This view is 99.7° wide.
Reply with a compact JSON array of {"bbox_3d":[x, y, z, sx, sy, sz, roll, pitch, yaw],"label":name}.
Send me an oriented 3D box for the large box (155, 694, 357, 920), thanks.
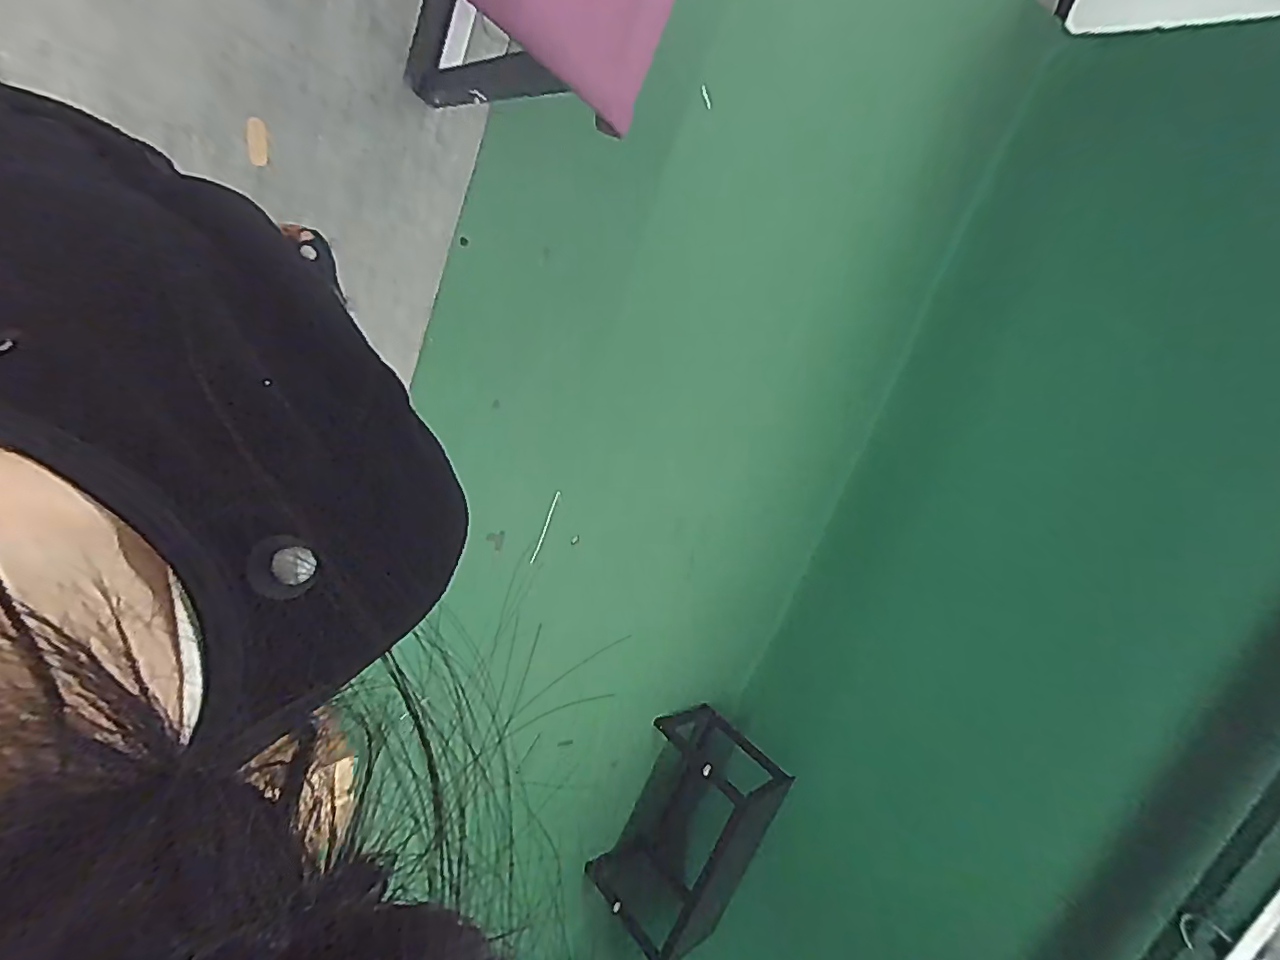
[{"bbox_3d":[-1.076,0.893,1.539,0.408,0.320,0.320,-11,121,-44],"label":"large box"}]
